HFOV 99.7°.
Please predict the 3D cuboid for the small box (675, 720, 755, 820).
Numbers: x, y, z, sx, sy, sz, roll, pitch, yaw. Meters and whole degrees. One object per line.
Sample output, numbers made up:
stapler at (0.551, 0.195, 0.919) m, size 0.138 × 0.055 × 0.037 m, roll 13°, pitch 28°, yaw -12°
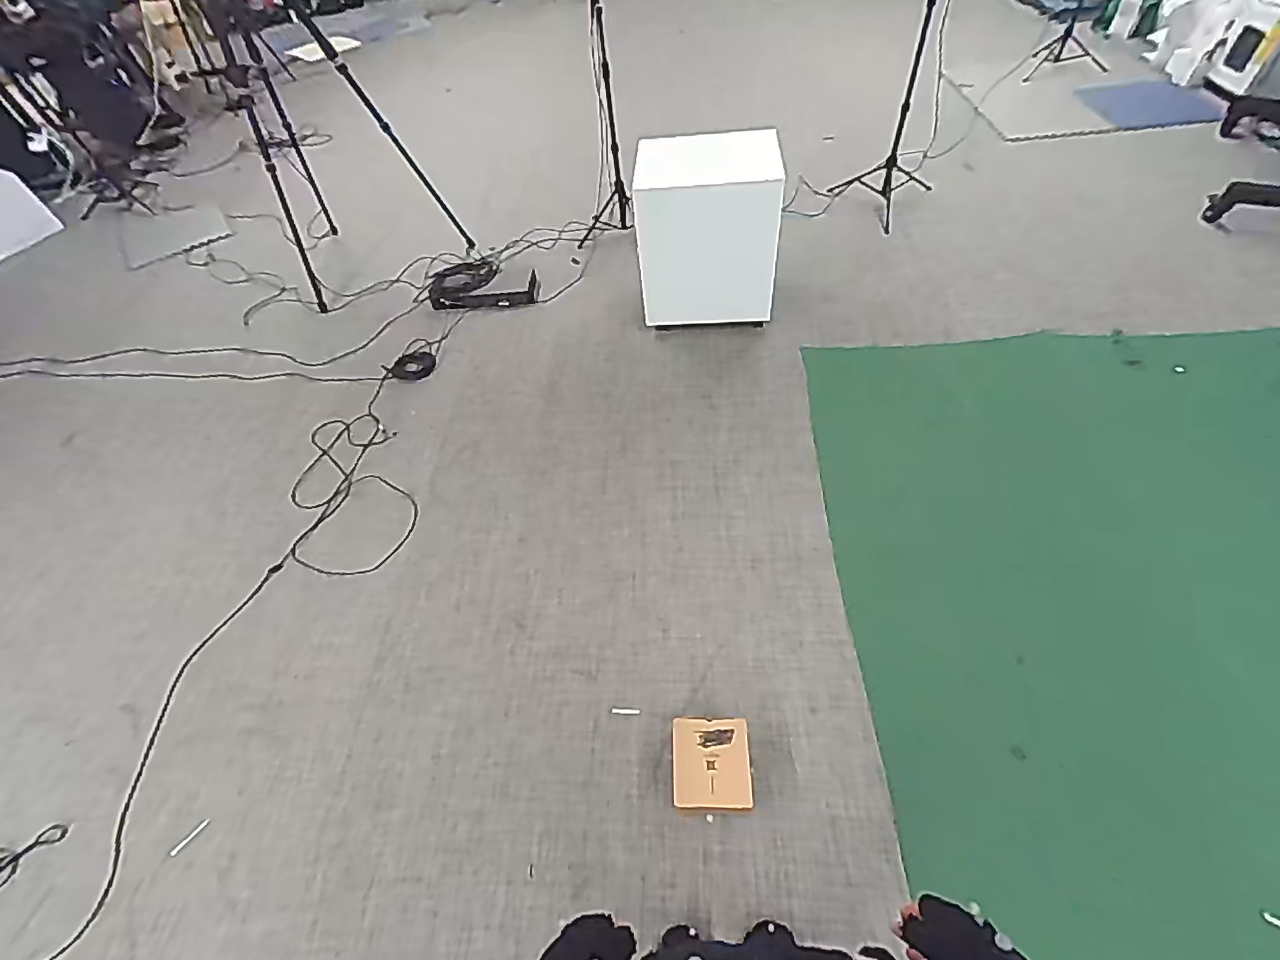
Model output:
small box at (0.162, 0.656, 1.222) m, size 0.168 × 0.176 × 0.179 m, roll -2°, pitch 54°, yaw 5°
